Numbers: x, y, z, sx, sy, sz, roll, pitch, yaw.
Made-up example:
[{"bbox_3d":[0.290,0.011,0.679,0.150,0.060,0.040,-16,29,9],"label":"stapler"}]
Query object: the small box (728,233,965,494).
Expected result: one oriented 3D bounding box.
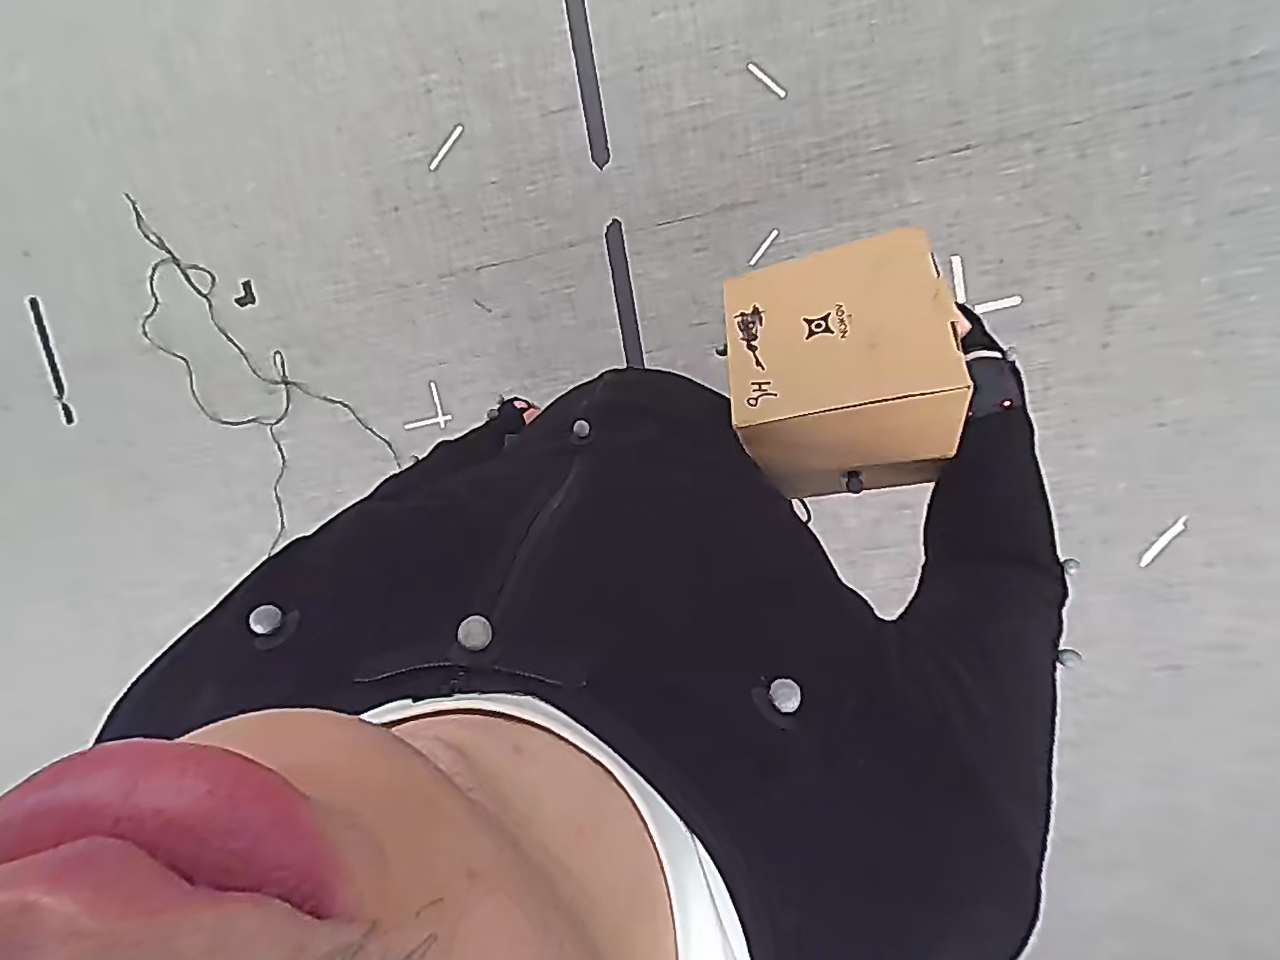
[{"bbox_3d":[0.192,-0.098,0.530,0.179,0.176,0.168,-9,63,20],"label":"small box"}]
